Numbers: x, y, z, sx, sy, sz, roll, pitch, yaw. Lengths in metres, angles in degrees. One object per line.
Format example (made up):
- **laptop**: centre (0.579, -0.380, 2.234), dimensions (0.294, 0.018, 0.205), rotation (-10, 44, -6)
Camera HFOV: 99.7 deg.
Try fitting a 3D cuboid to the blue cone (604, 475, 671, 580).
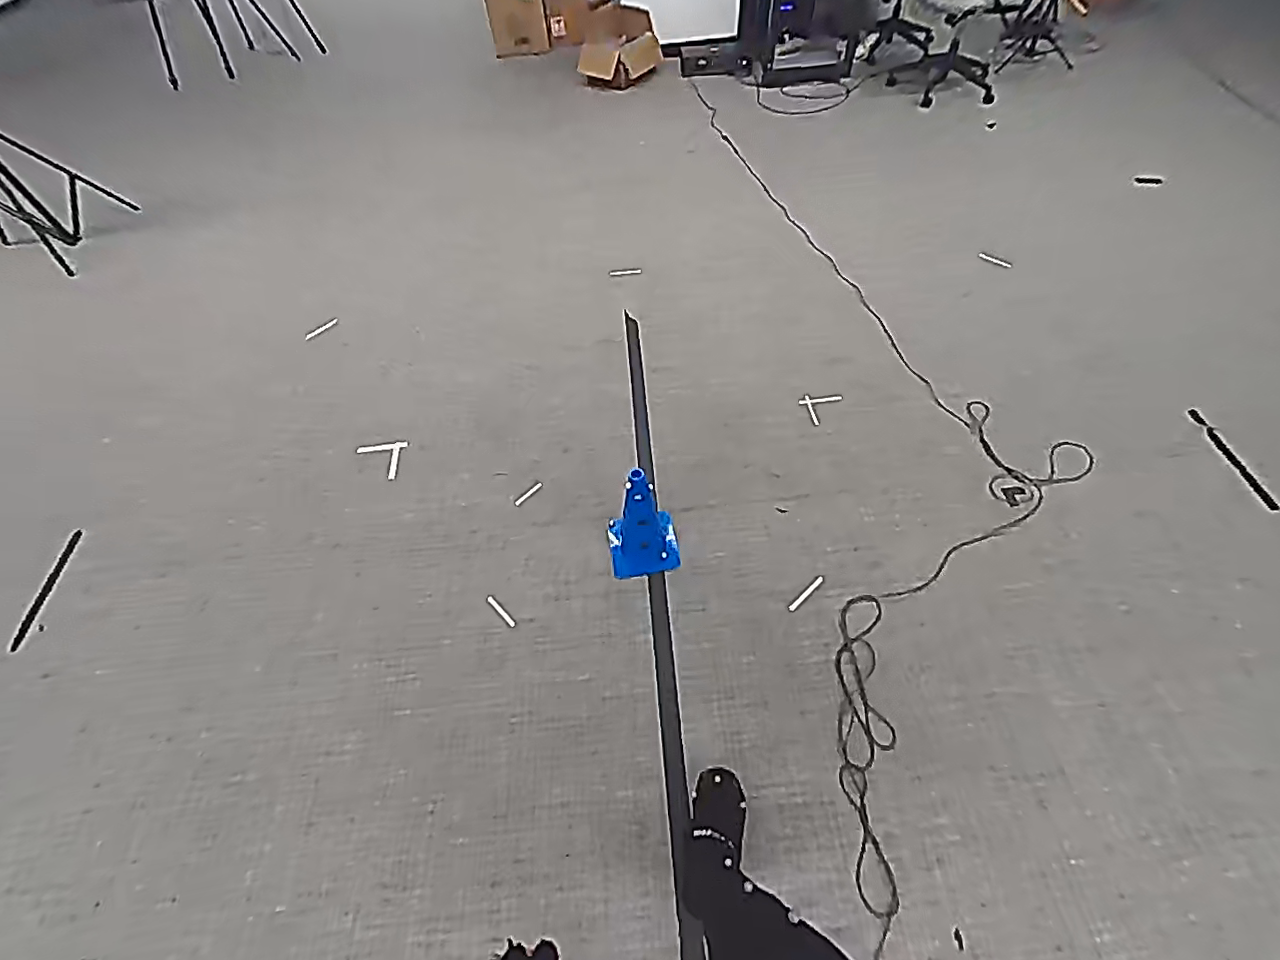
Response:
- **blue cone**: centre (-0.018, 0.106, 1.491), dimensions (0.192, 0.380, 0.193), rotation (-9, 54, -2)
